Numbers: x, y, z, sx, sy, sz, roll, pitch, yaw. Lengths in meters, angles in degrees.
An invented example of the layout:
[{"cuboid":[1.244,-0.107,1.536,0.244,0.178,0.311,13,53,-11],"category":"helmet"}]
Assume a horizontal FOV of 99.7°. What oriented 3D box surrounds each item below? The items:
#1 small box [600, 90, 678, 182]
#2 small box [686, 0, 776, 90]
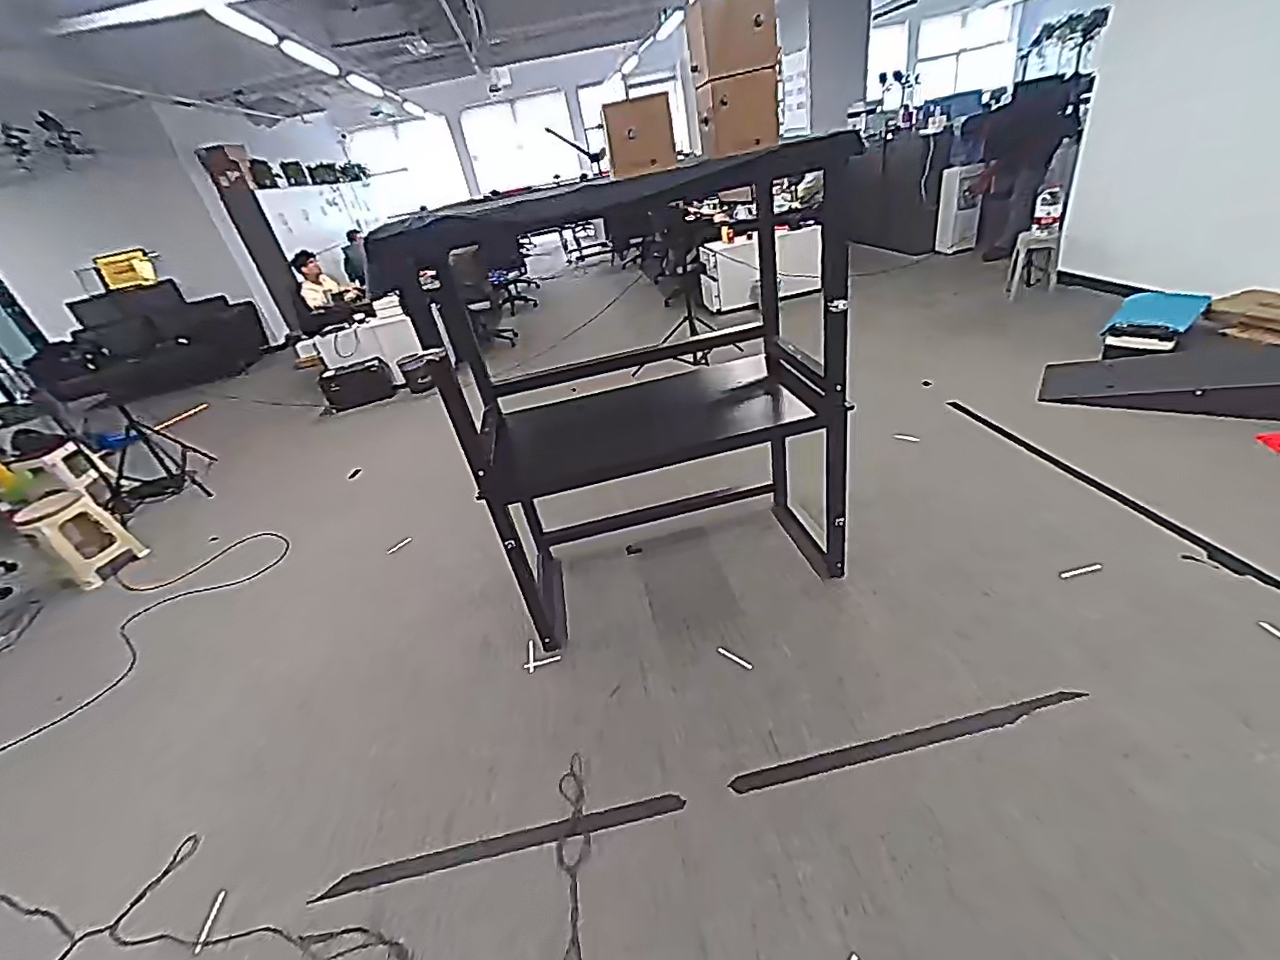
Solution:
[{"cuboid":[-0.004,-0.879,1.397,0.168,0.176,0.179,-12,30,0],"category":"small box"},{"cuboid":[0.221,-1.067,1.306,0.179,0.176,0.168,-14,29,-1],"category":"small box"}]
